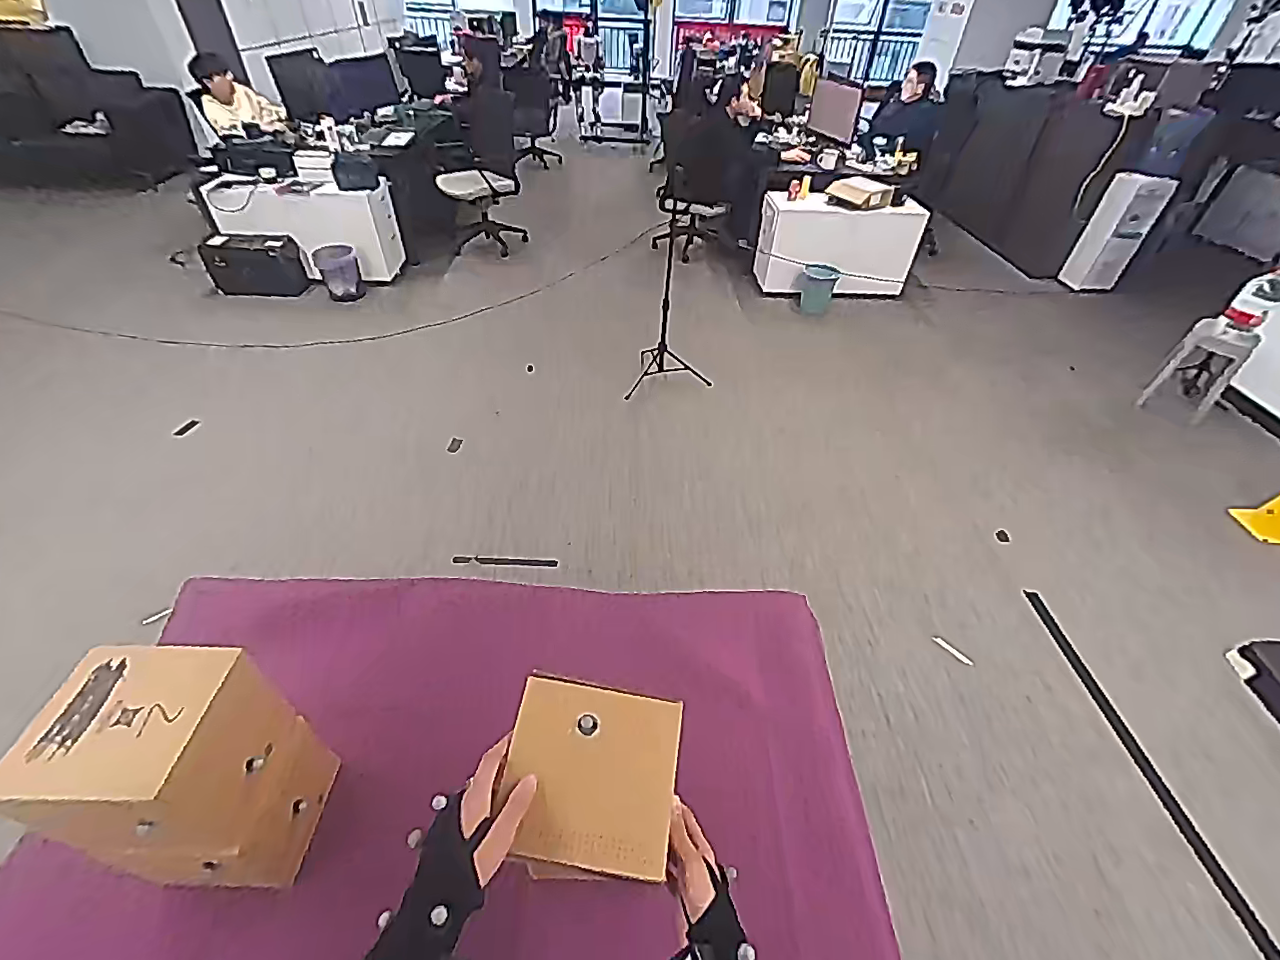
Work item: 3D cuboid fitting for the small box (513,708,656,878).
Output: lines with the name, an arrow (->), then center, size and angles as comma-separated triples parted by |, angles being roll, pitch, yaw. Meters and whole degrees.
small box -> -0.068, 0.442, 0.761 | 0.179, 0.176, 0.168 | 2, 42, -1

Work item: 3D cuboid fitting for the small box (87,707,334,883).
small box -> -0.556, 0.432, 0.738 | 0.179, 0.176, 0.168 | 3, 42, -1
